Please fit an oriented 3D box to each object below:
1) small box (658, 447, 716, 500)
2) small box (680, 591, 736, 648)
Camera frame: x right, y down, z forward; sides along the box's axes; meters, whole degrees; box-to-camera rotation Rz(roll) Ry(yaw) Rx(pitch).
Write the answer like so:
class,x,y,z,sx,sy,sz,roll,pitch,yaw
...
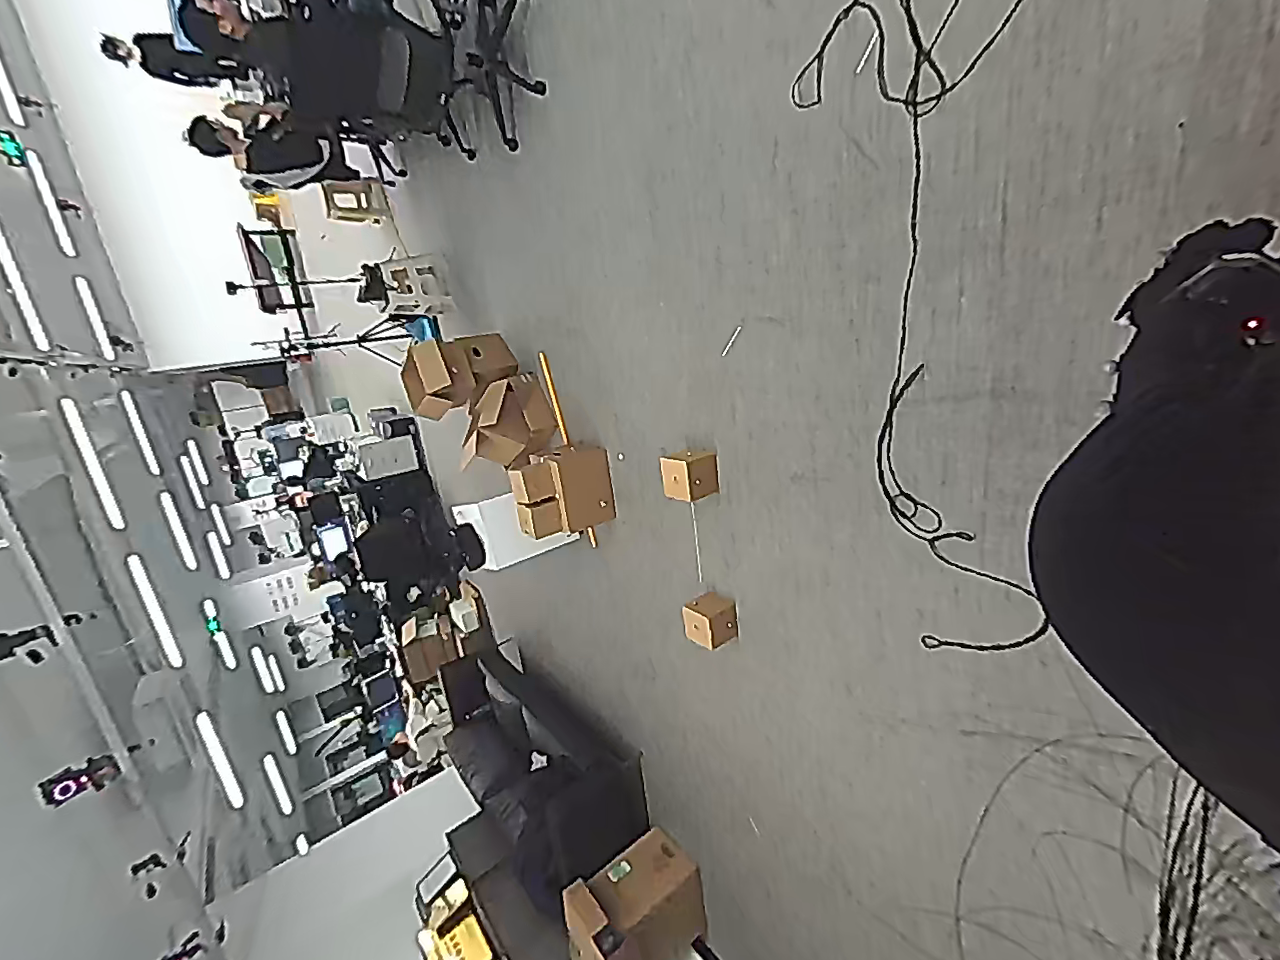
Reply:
class,x,y,z,sx,sy,sz,roll,pitch,yaw
small box,0.199,-0.033,2.265,0.168,0.176,0.179,12,116,51
small box,0.308,0.622,2.438,0.179,0.176,0.168,12,116,52
